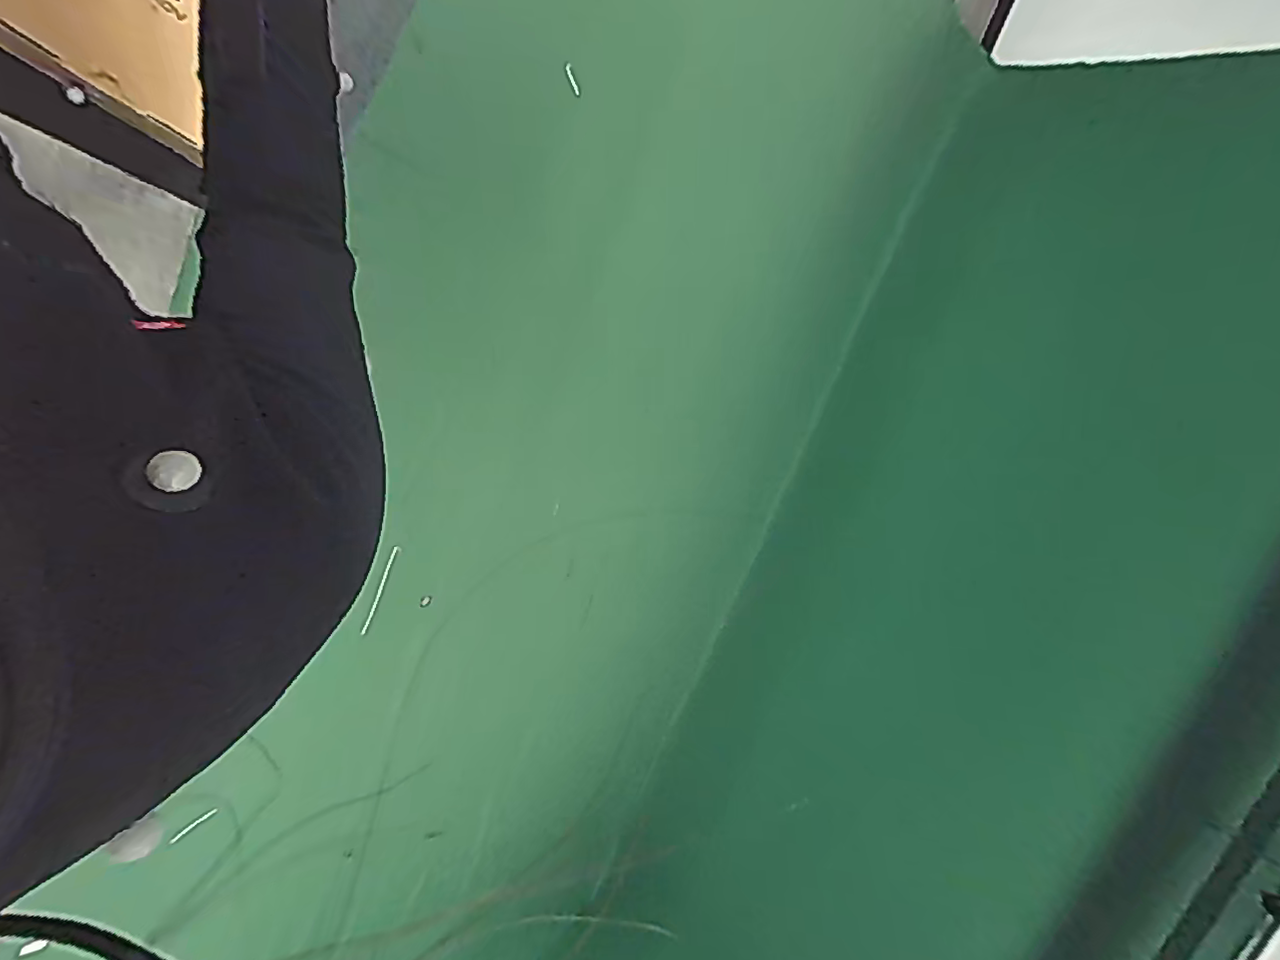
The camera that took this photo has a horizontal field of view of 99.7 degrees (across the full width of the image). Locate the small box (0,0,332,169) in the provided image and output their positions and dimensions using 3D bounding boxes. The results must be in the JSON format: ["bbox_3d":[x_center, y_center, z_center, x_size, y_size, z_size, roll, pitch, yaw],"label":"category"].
[{"bbox_3d":[-0.382,-0.382,0.423,0.168,0.176,0.179,26,95,-52],"label":"small box"}]
